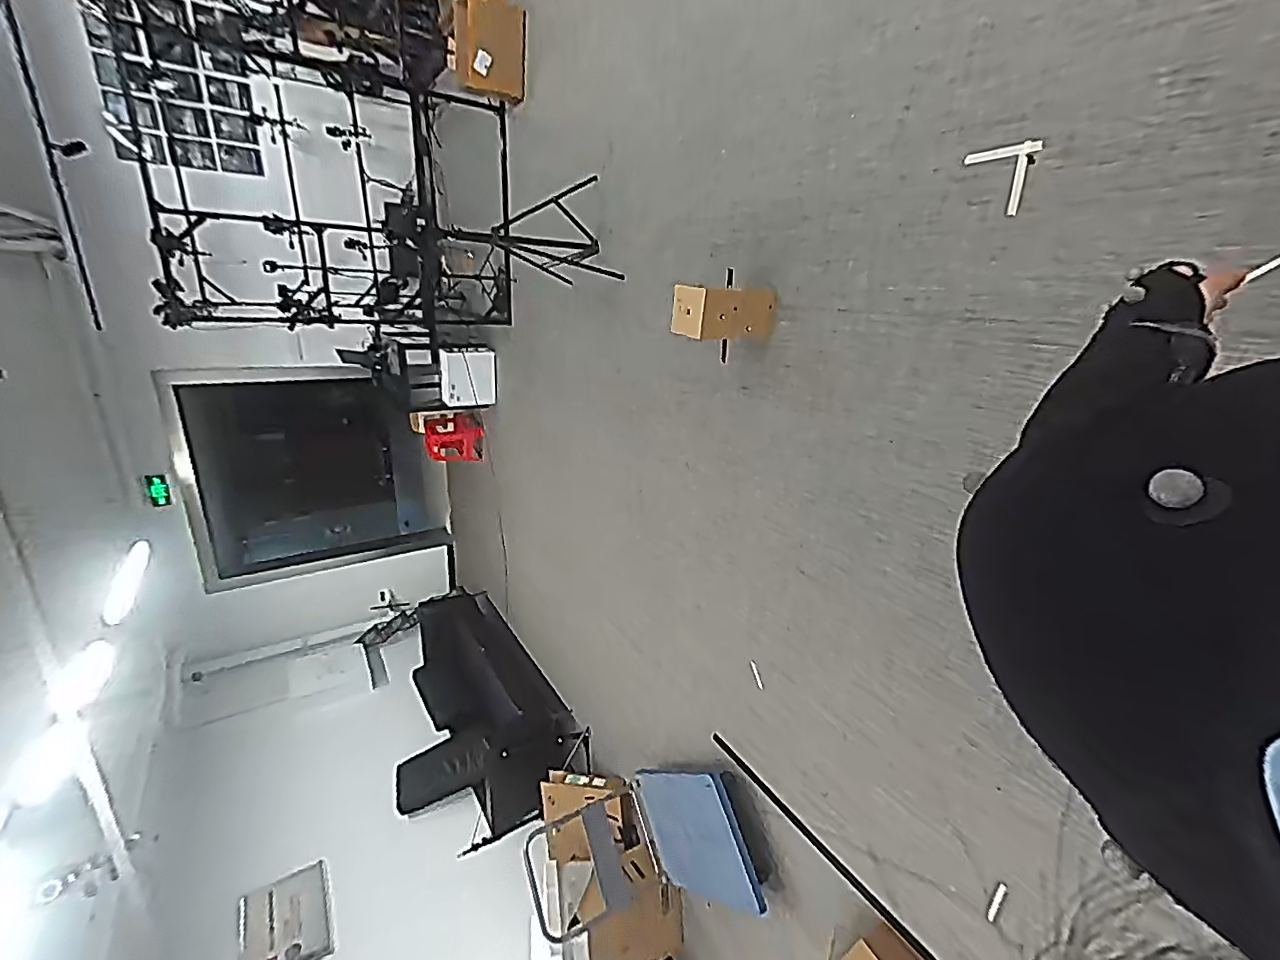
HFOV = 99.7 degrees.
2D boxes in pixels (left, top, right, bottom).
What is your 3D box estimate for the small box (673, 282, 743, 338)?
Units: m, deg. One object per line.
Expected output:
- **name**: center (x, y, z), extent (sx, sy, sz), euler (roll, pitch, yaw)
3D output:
- **small box**: center (0.241, -0.605, 1.916), extent (0.179, 0.176, 0.168), euler (36, 128, 50)
